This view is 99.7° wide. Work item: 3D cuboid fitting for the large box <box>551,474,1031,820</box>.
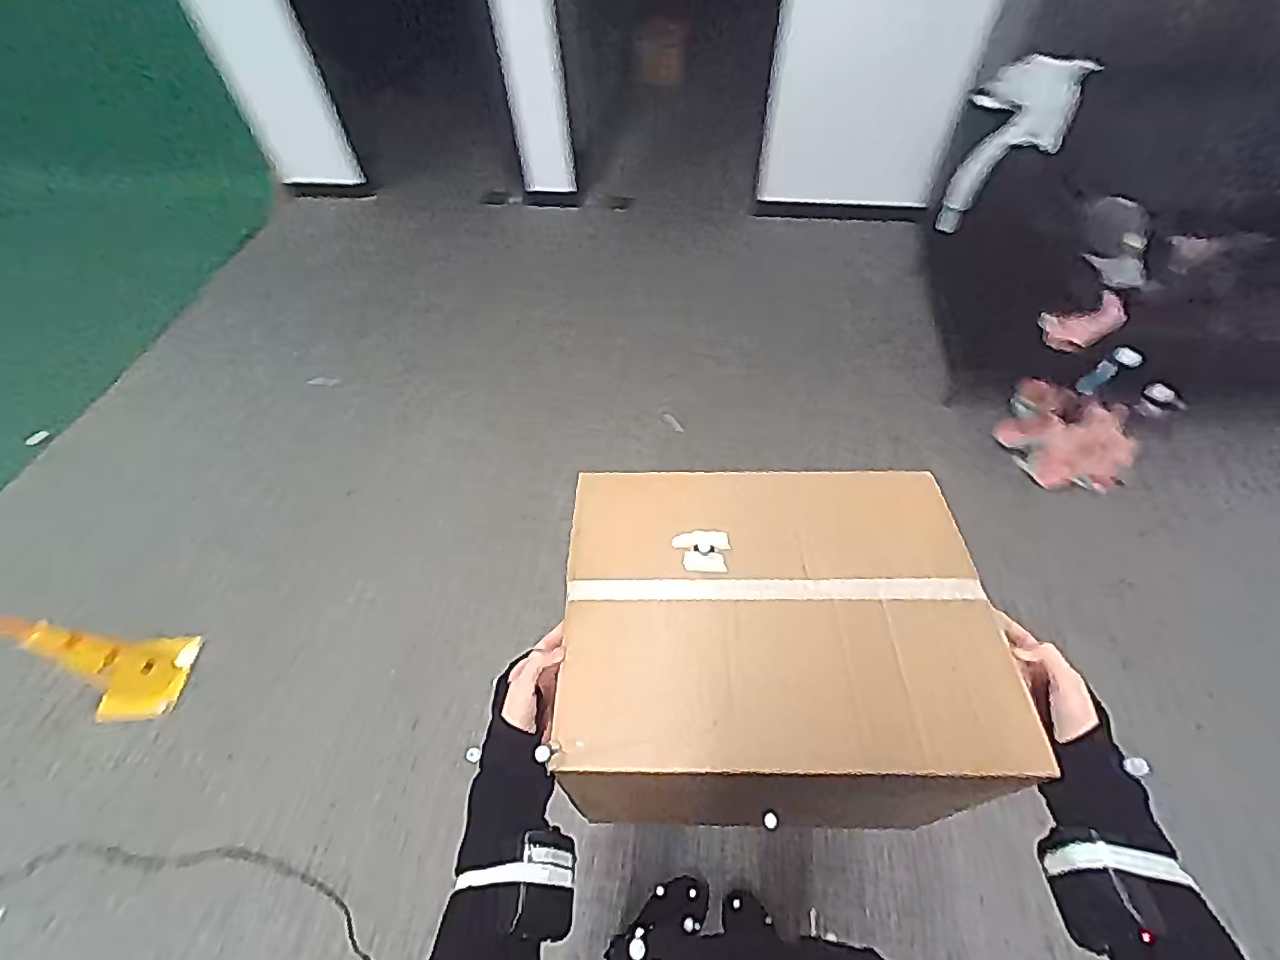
[{"bbox_3d":[0.129,0.212,0.652,0.408,0.320,0.320,-2,51,2],"label":"large box"}]
